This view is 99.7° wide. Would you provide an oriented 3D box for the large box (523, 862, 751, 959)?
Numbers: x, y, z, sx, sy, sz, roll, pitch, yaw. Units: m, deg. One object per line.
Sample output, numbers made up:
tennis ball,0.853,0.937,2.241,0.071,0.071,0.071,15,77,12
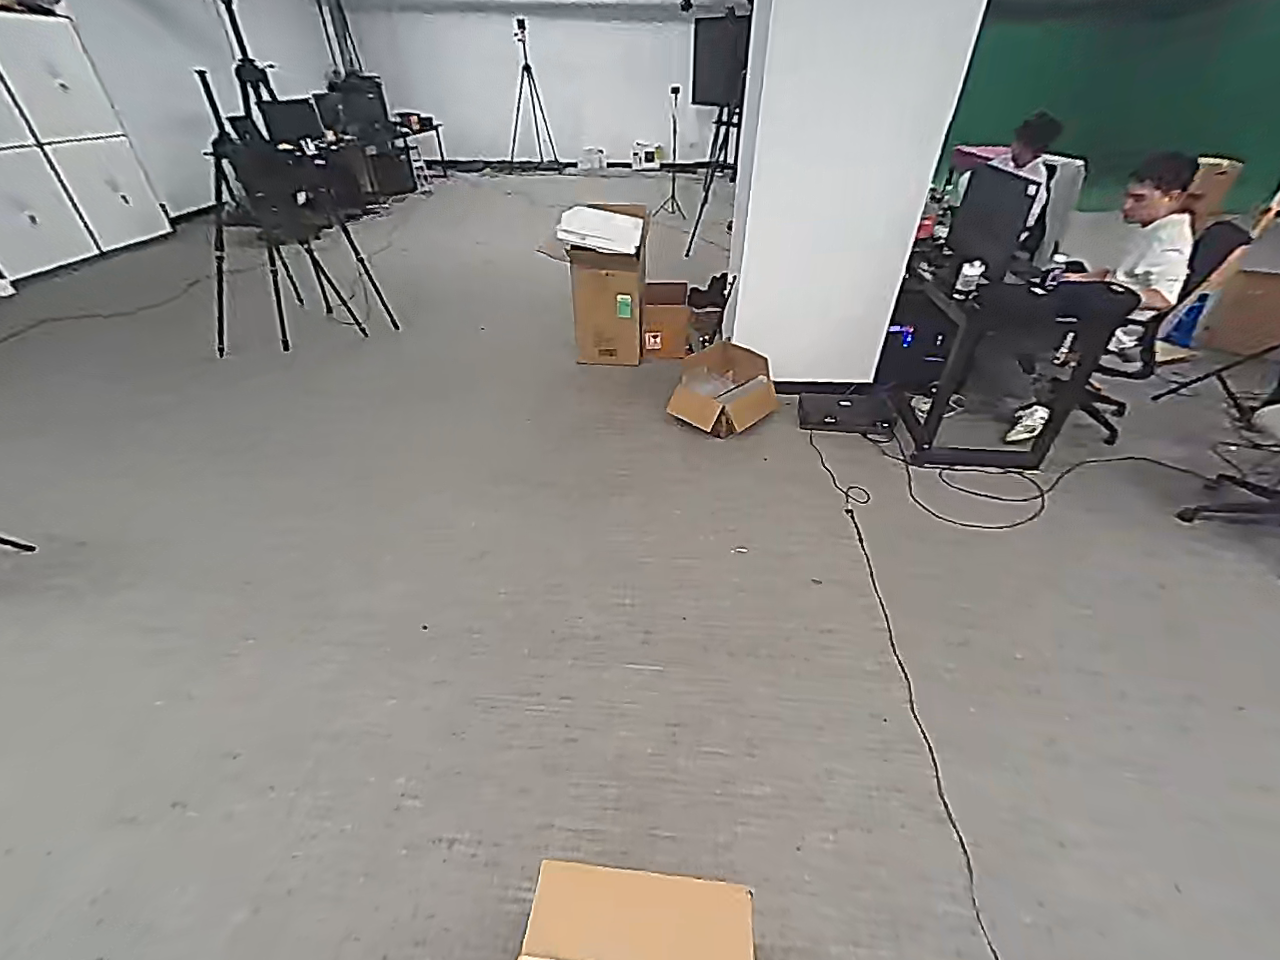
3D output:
large box,-0.012,0.969,1.009,0.408,0.320,0.320,5,37,4
